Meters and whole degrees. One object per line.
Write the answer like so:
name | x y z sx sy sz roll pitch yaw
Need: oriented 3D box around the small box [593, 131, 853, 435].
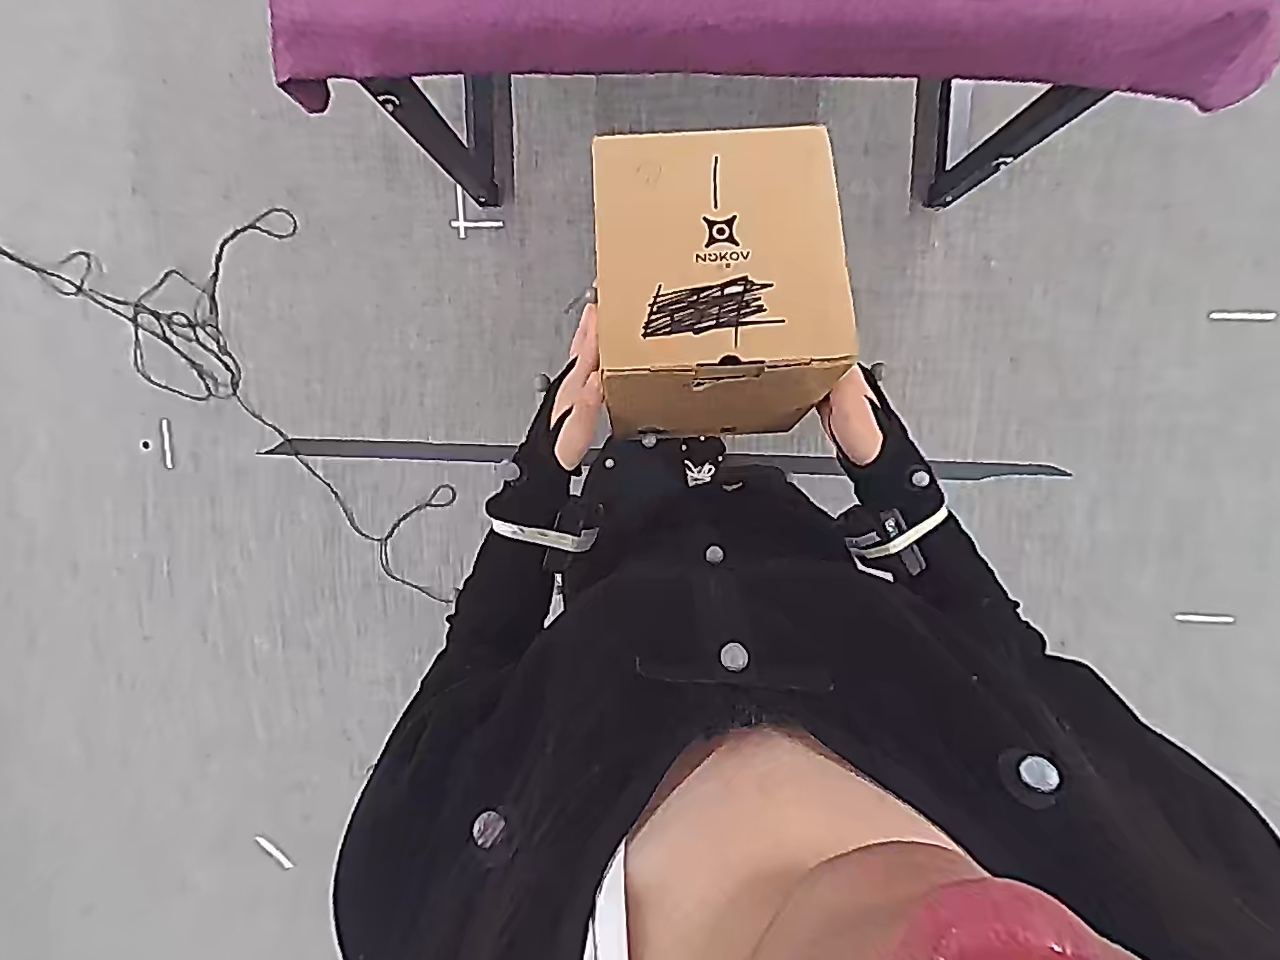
small box | 0.053 -0.139 0.438 0.168 0.176 0.179 -3 78 0
